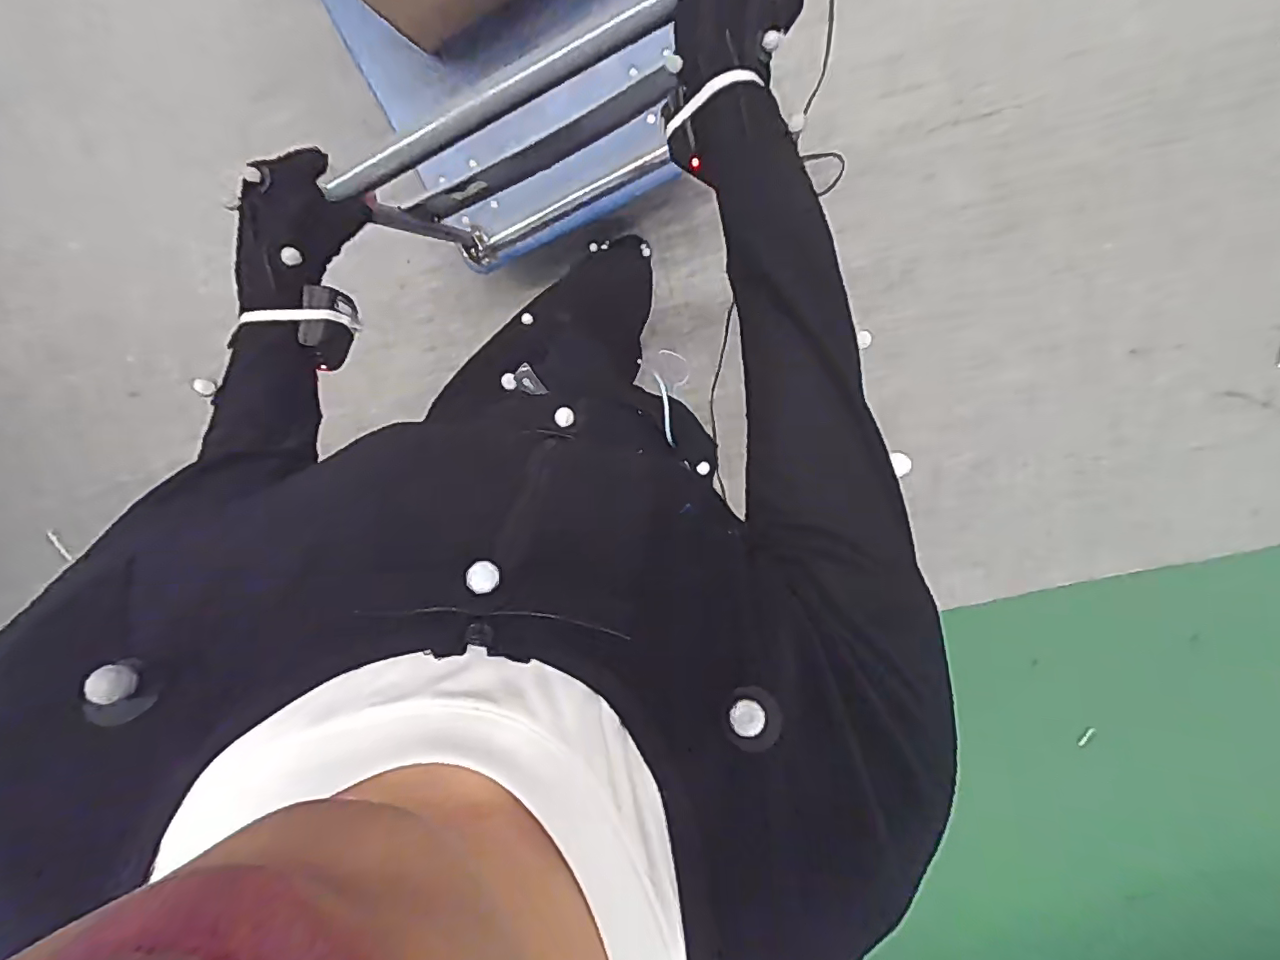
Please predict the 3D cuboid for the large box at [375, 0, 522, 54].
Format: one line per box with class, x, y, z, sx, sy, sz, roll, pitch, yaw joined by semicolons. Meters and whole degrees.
large box;-0.268;-0.934;0.784;0.408;0.320;0.320;-25;111;12
